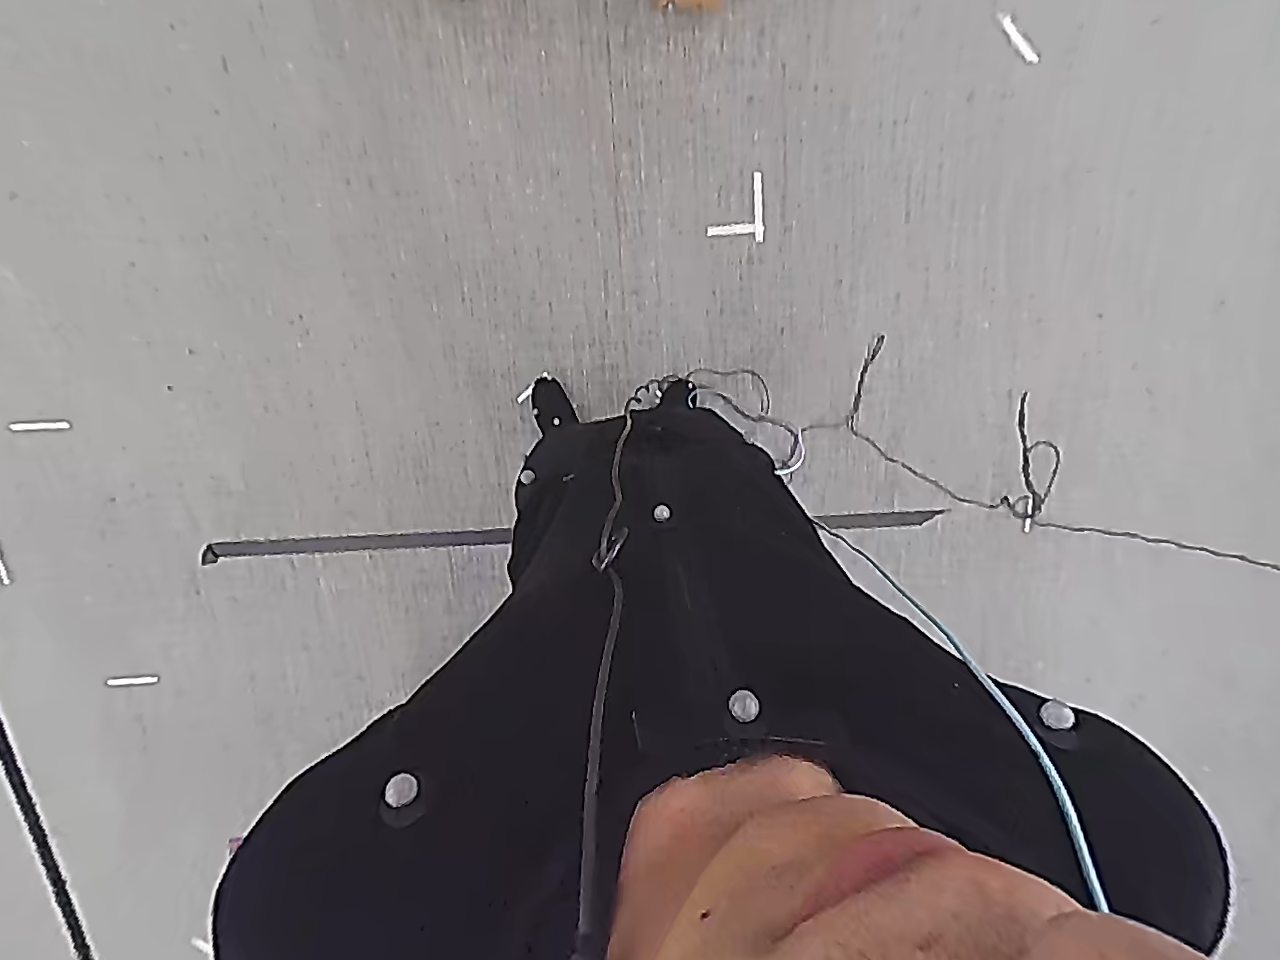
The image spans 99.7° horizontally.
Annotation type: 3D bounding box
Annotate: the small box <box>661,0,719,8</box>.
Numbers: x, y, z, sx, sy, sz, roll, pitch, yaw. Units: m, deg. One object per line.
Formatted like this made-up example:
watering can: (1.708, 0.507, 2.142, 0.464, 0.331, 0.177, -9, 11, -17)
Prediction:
small box: (0.122, -1.247, 1.256, 0.168, 0.176, 0.179, 0, 103, -4)
